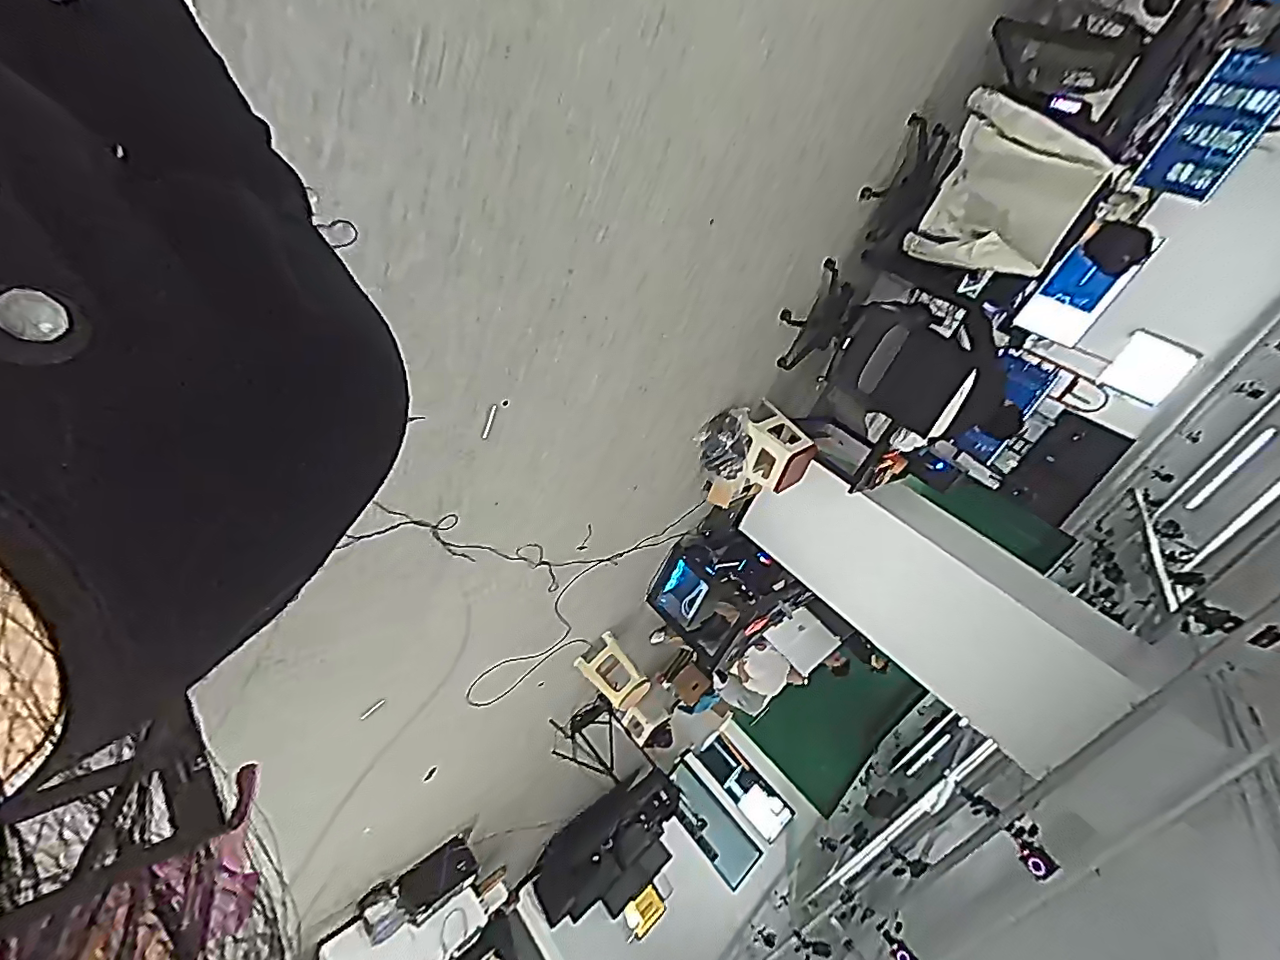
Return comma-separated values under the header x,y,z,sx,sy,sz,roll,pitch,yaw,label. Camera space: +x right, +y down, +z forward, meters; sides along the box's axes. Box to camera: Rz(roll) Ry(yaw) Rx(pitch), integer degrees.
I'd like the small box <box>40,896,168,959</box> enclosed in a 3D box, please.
x,y,z,sx,sy,sz,roll,pitch,yaw,label
-1.067,0.997,1.088,0.168,0.176,0.179,-13,136,-48,small box
